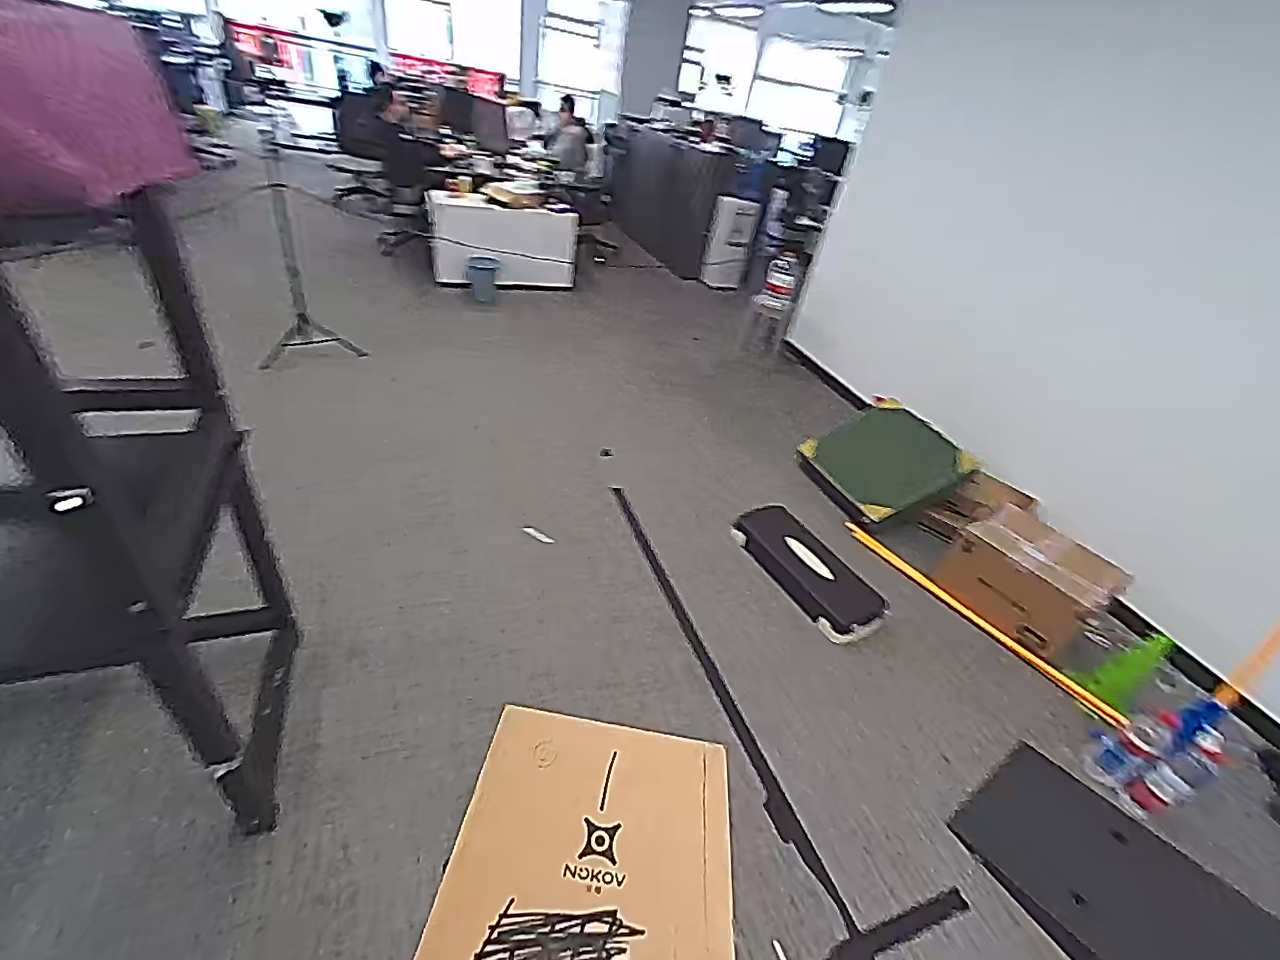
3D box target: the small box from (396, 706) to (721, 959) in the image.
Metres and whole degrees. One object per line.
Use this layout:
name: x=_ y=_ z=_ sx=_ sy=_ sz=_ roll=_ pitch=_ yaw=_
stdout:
small box: x=-0.046 y=0.286 z=0.353 sx=0.168 sy=0.176 sz=0.179 roll=11 pitch=32 yaw=-1
